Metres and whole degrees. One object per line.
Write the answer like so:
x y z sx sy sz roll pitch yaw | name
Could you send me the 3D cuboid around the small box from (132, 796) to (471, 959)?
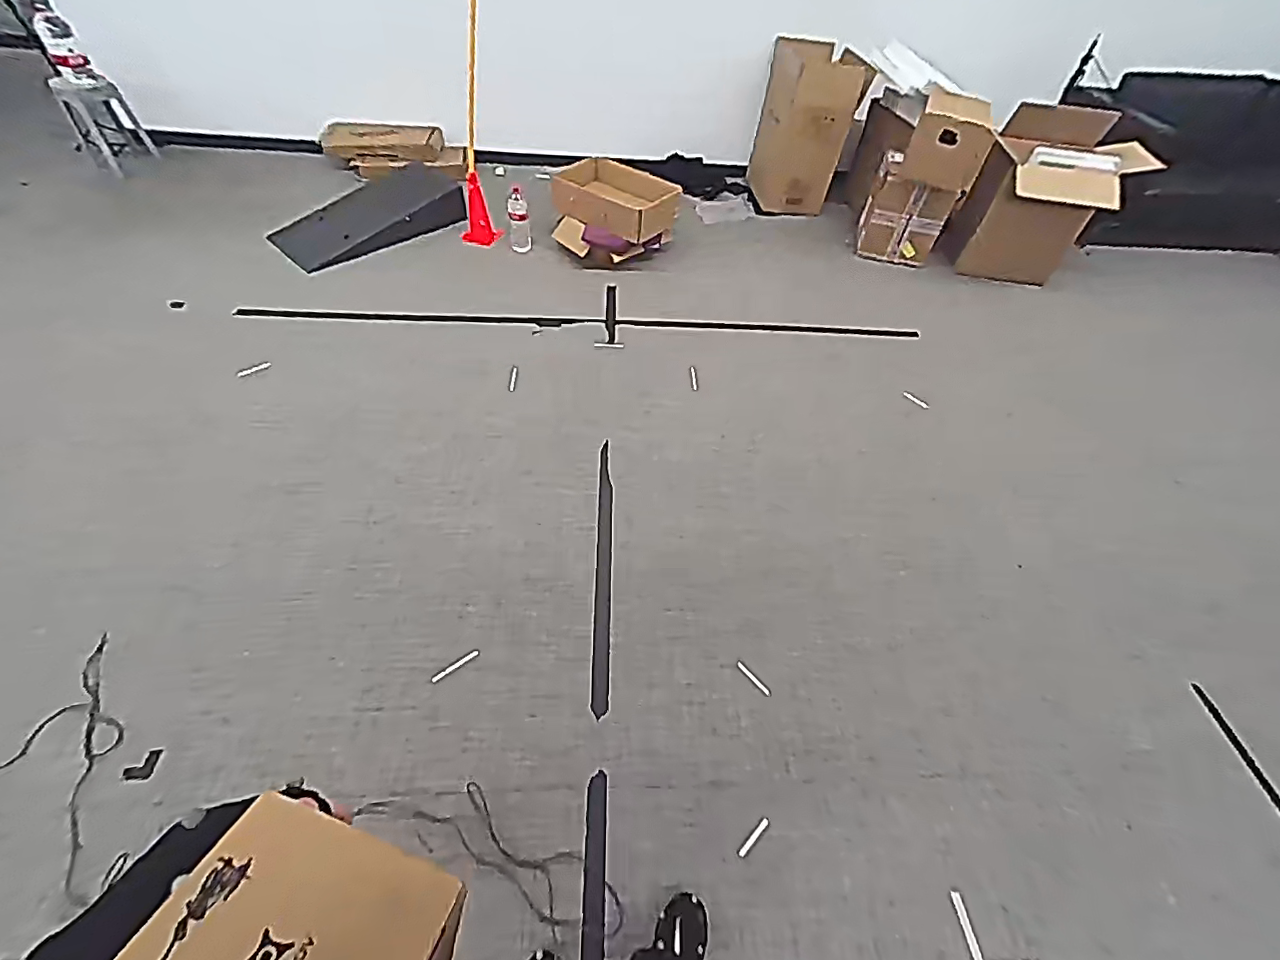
-0.248 0.379 0.391 0.179 0.176 0.168 21 31 5 | small box
